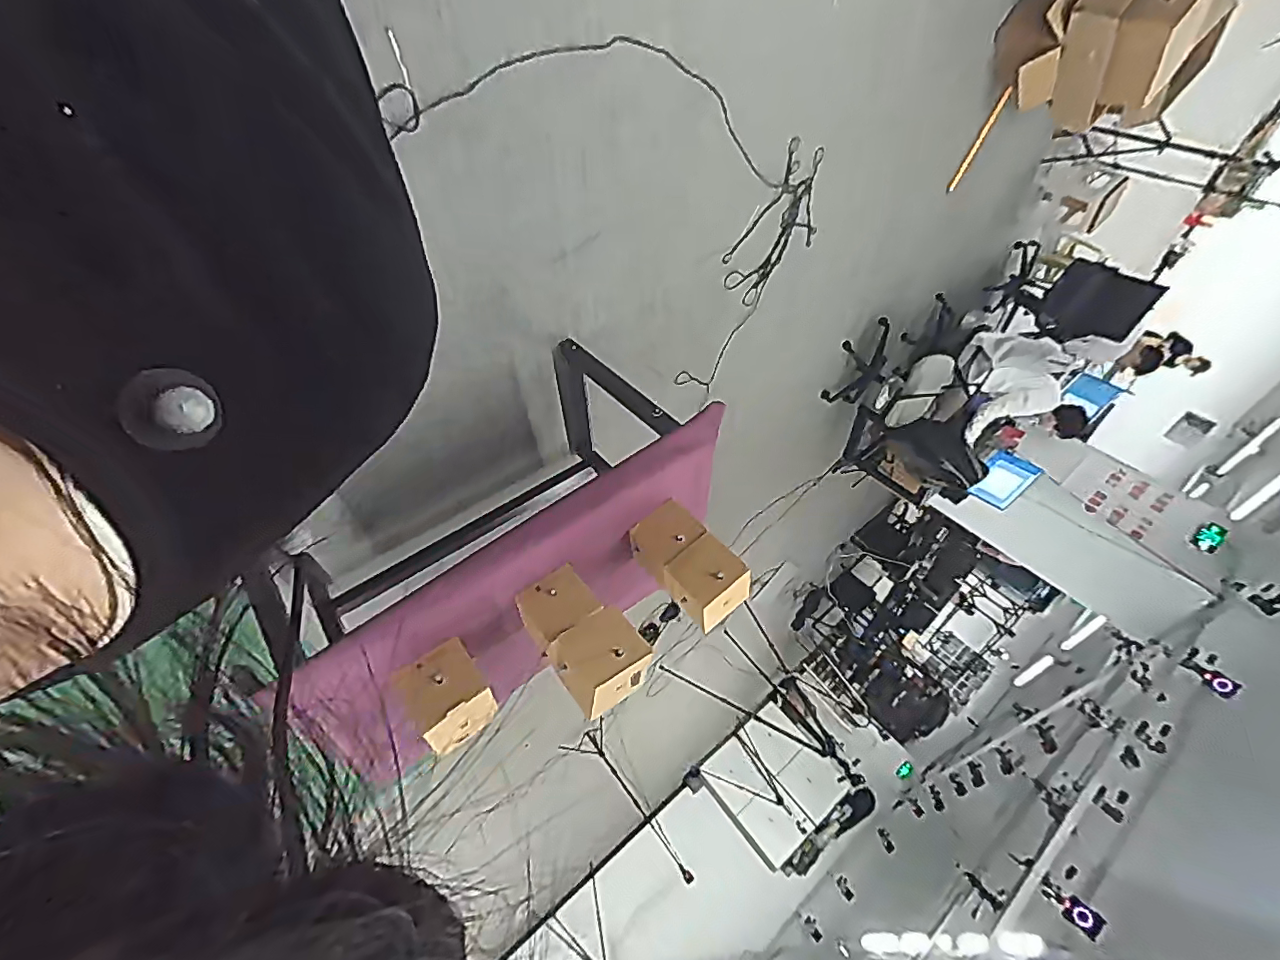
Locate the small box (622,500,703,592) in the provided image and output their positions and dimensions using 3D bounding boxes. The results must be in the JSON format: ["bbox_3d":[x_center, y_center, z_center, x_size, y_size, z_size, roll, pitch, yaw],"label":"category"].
[{"bbox_3d":[0.068,0.191,1.600,0.179,0.176,0.168,-34,145,-20],"label":"small box"}]

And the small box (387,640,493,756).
[{"bbox_3d":[-0.480,0.515,1.299,0.168,0.176,0.179,-30,144,-27],"label":"small box"}]

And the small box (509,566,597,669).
[{"bbox_3d":[-0.226,0.363,1.437,0.168,0.176,0.179,-31,145,-26],"label":"small box"}]

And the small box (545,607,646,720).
[{"bbox_3d":[-0.115,0.451,1.354,0.179,0.176,0.168,-23,141,-34],"label":"small box"}]

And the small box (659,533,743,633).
[{"bbox_3d":[0.165,0.284,1.510,0.179,0.176,0.168,-36,146,-19],"label":"small box"}]
